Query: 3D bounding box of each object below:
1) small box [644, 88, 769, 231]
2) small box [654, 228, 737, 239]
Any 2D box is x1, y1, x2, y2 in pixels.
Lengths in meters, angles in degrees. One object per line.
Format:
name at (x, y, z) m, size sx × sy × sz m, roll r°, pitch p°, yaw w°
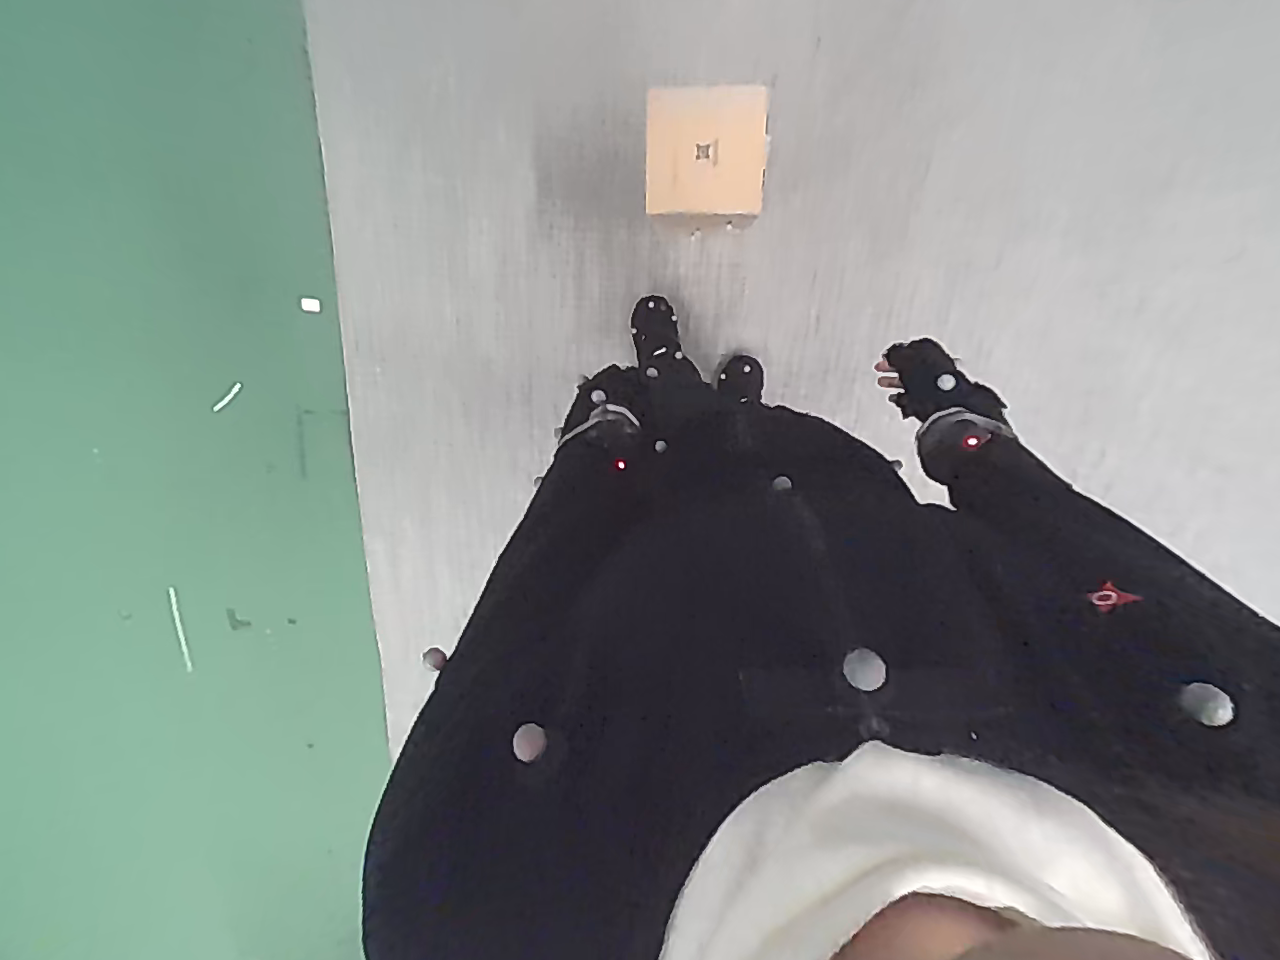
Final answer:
small box at (0.101, -0.502, 0.866) m, size 0.179 × 0.176 × 0.168 m, roll 2°, pitch 107°, yaw 6°
small box at (0.124, -0.620, 1.169) m, size 0.179 × 0.176 × 0.168 m, roll 4°, pitch 108°, yaw 5°
